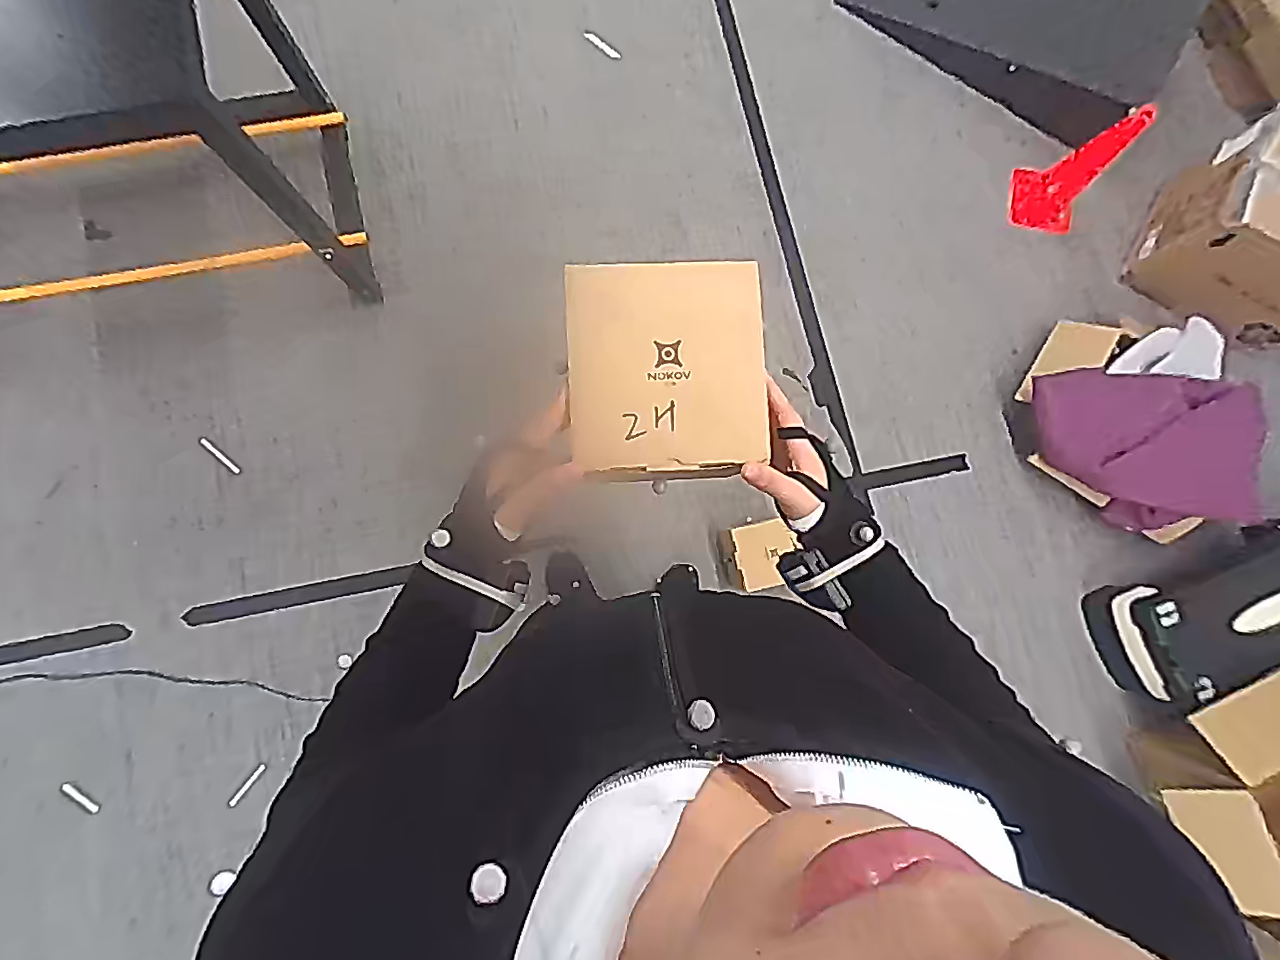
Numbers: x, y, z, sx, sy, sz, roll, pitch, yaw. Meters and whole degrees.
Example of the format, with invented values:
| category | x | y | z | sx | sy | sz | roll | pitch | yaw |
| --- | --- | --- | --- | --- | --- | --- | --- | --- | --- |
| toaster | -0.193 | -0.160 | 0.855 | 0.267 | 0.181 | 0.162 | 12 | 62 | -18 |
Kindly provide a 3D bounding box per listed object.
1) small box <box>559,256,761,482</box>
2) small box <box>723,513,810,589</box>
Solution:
| category | x | y | z | sx | sy | sz | roll | pitch | yaw |
| --- | --- | --- | --- | --- | --- | --- | --- | --- | --- |
| small box | 0.012 | -0.095 | 0.528 | 0.168 | 0.176 | 0.179 | -3 | 86 | -2 |
| small box | 0.328 | 0.192 | 1.449 | 0.179 | 0.176 | 0.168 | -12 | 84 | -4 |
